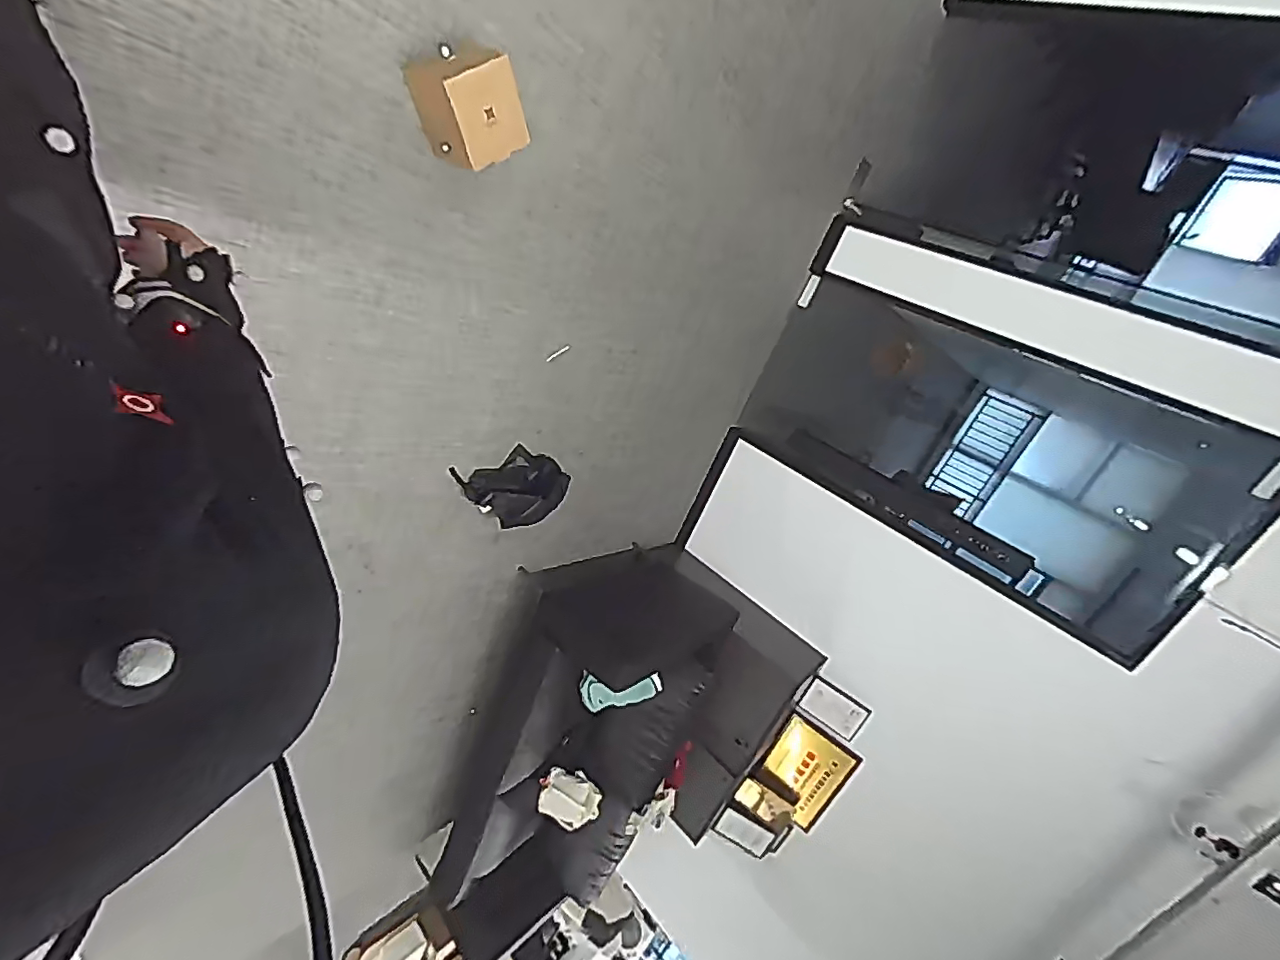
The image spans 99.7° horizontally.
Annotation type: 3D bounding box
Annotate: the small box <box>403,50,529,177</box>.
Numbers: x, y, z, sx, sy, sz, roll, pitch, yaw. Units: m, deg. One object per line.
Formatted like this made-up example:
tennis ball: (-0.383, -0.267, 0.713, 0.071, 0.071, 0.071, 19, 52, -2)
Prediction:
small box: (-0.378, -0.805, 1.186, 0.168, 0.176, 0.179, -42, 148, -21)
